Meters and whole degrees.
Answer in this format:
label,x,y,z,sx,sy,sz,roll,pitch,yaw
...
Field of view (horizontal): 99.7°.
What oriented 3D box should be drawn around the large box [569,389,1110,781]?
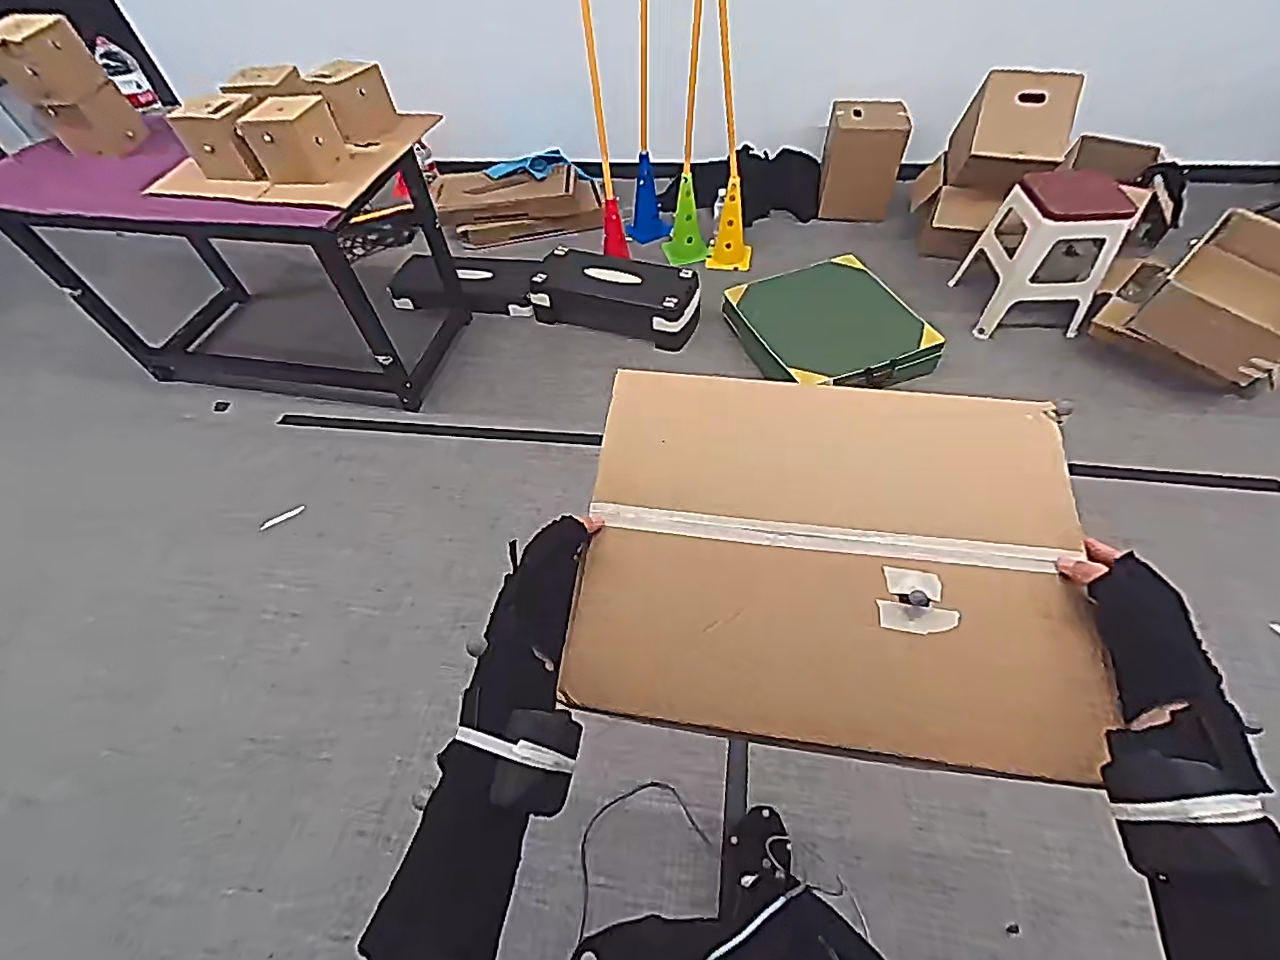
label,x,y,z,sx,sy,sz,roll,pitch,yaw
large box,0.163,0.124,0.598,0.408,0.320,0.320,6,66,6
